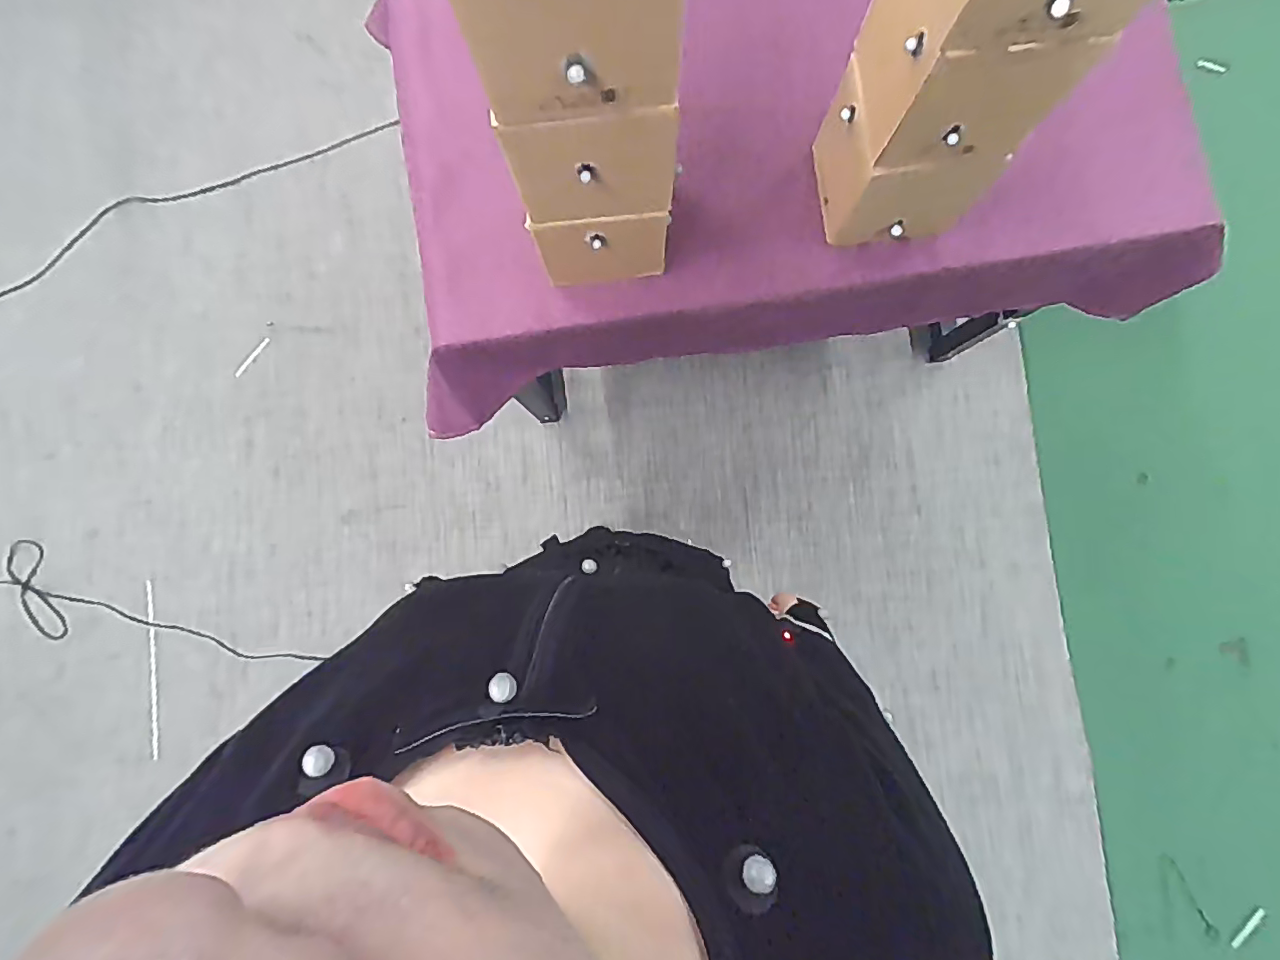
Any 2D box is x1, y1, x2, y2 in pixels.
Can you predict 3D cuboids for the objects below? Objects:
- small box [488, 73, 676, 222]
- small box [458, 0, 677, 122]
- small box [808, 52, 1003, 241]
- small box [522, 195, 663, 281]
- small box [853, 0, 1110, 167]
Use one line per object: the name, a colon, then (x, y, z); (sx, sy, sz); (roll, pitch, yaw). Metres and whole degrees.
small box: (-0.058, -0.409, 0.589); (0.179, 0.176, 0.168); (-6, 86, 2)
small box: (-0.062, -0.429, 0.425); (0.168, 0.176, 0.179); (-7, 86, 1)
small box: (0.354, -0.457, 0.751); (0.179, 0.176, 0.168); (-6, 85, 0)
small box: (-0.062, -0.392, 0.752); (0.179, 0.176, 0.168); (-5, 86, 0)
small box: (0.349, -0.481, 0.589); (0.168, 0.176, 0.179); (-6, 86, 1)
